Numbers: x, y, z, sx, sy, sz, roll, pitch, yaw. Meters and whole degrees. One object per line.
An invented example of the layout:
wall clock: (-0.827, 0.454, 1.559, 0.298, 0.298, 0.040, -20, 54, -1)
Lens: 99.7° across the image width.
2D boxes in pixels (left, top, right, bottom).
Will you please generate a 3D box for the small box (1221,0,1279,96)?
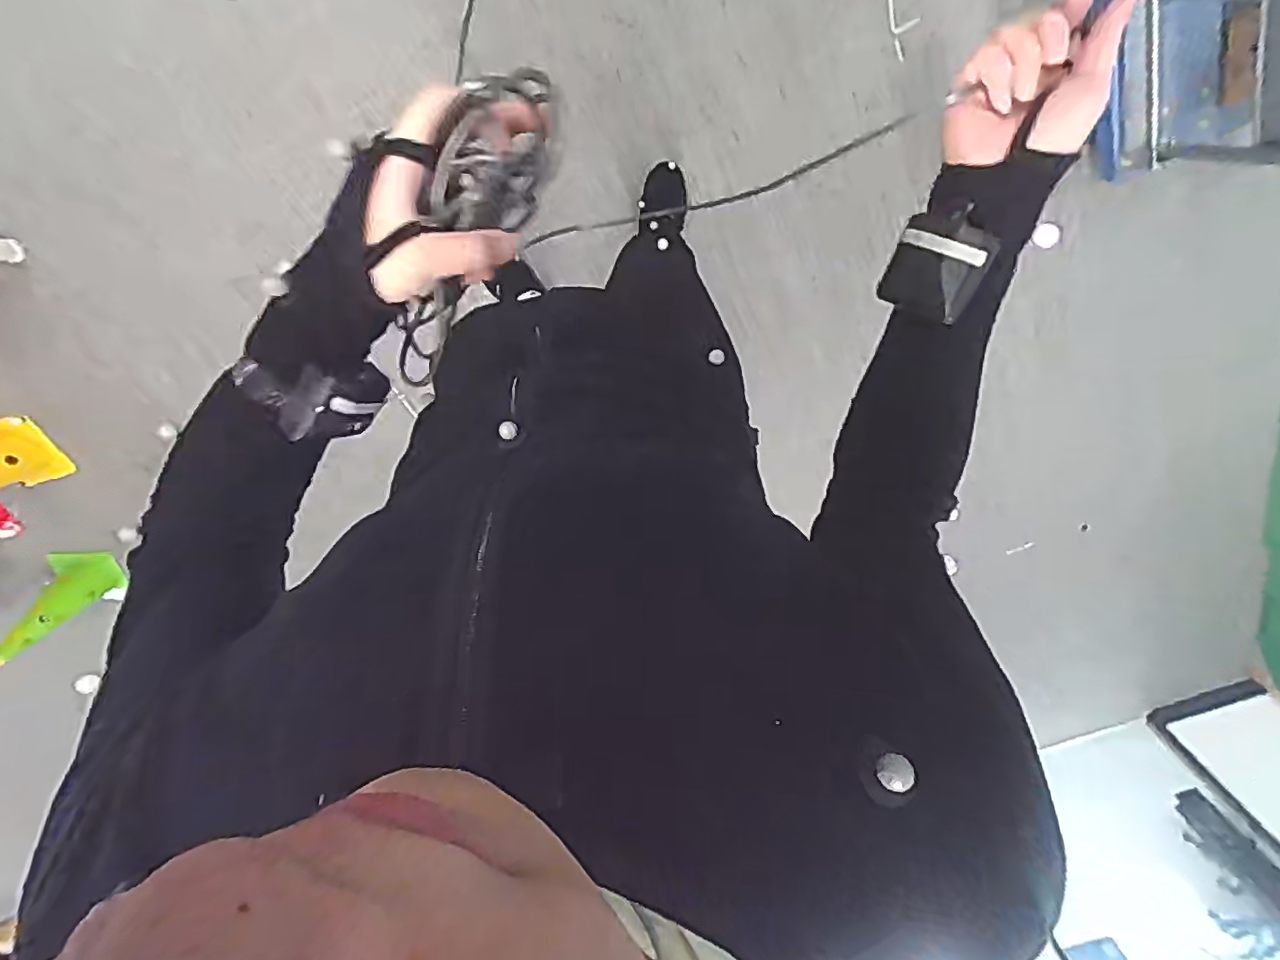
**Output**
small box: (1.299, -0.873, 1.040, 0.179, 0.176, 0.168, -23, 120, 11)
